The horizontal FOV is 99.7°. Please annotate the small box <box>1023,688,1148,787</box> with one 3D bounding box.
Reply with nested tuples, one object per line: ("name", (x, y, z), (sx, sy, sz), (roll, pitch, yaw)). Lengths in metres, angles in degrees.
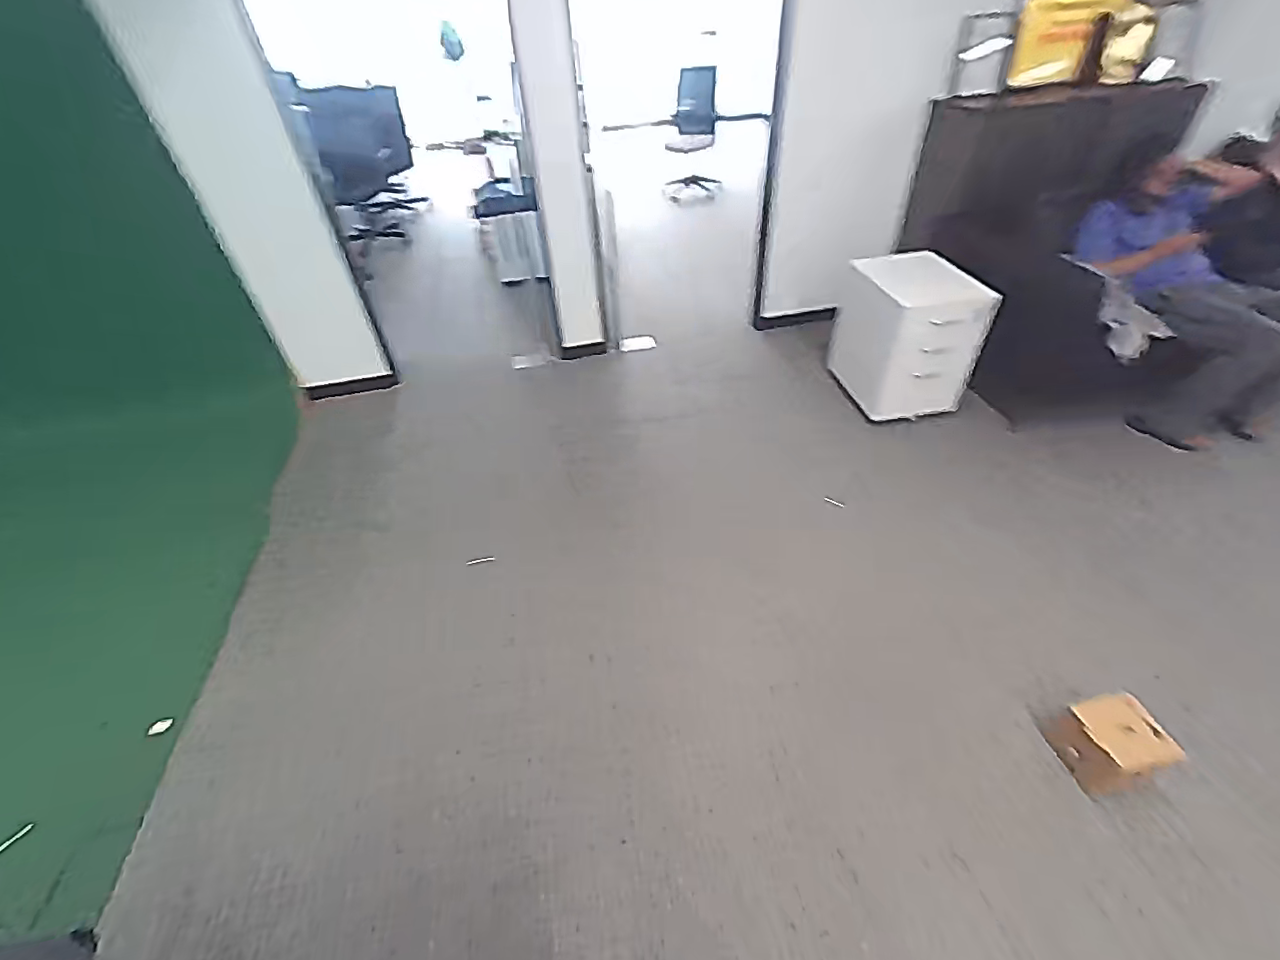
("small box", (1.170, 0.691, 1.443), (0.179, 0.176, 0.168), (-10, 41, -10))
